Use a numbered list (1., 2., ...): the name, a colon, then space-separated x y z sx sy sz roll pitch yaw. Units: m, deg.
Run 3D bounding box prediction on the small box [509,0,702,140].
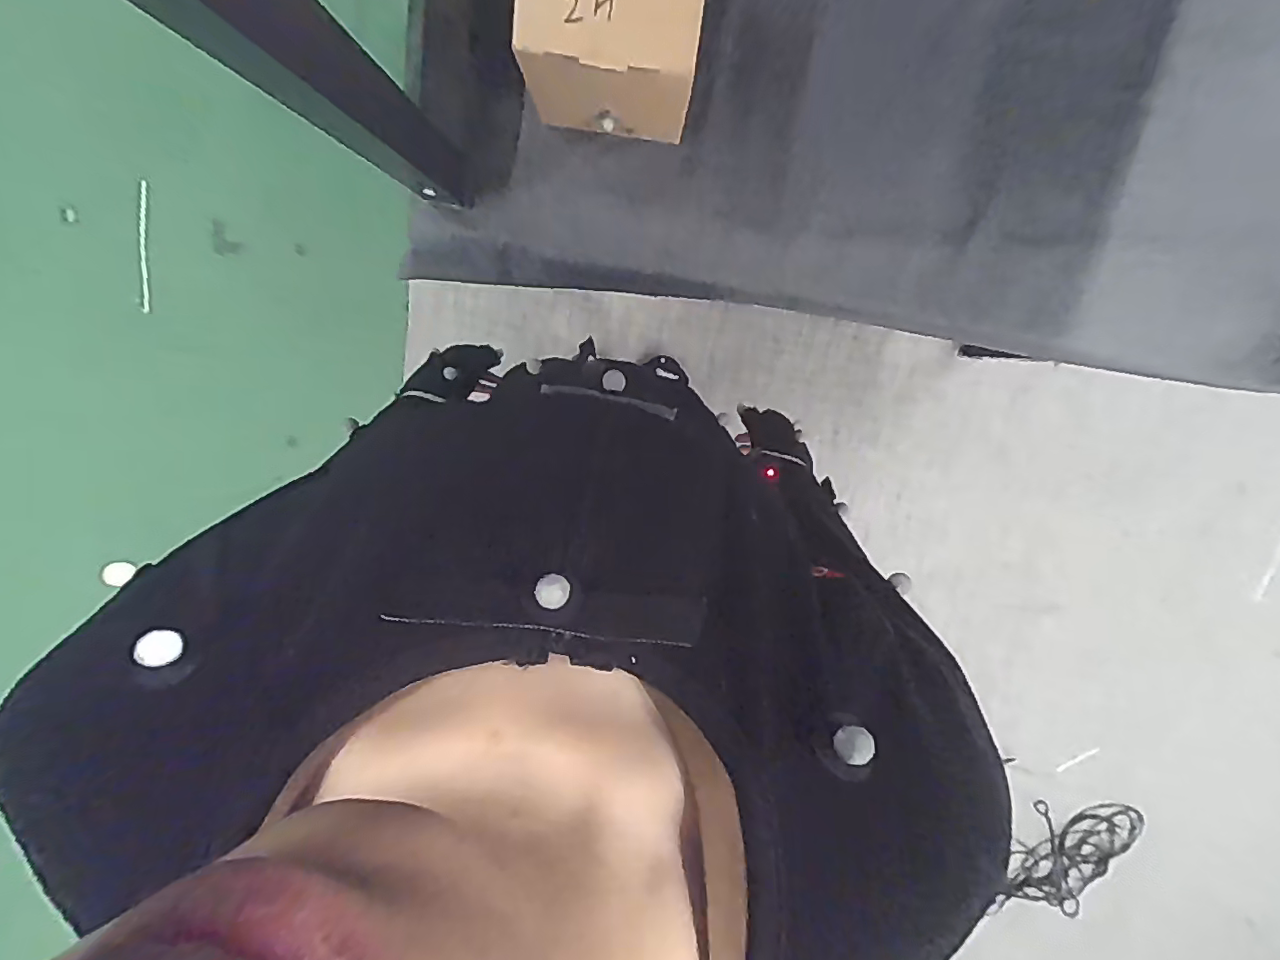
1. small box: -0.024 -0.475 0.535 0.168 0.176 0.179 7 104 -2
